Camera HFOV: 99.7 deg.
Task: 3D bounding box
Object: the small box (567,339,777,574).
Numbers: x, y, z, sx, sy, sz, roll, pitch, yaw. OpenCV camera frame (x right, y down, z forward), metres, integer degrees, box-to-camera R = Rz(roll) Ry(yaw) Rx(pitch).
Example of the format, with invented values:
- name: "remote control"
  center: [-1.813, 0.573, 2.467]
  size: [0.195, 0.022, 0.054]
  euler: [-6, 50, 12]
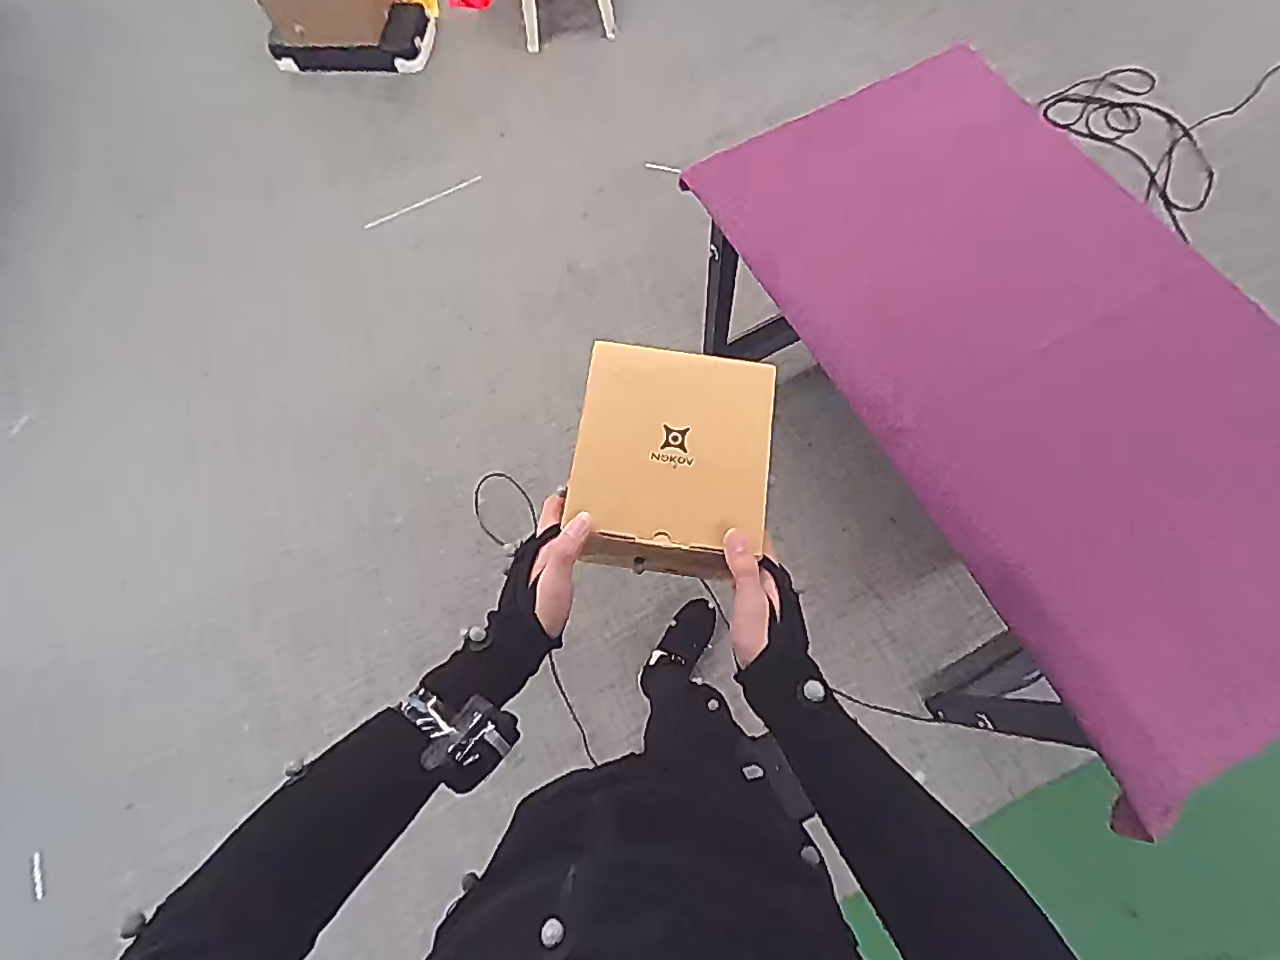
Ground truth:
- name: "small box"
  center: [0.027, -0.011, 0.538]
  size: [0.168, 0.176, 0.179]
  euler: [9, 74, -1]
